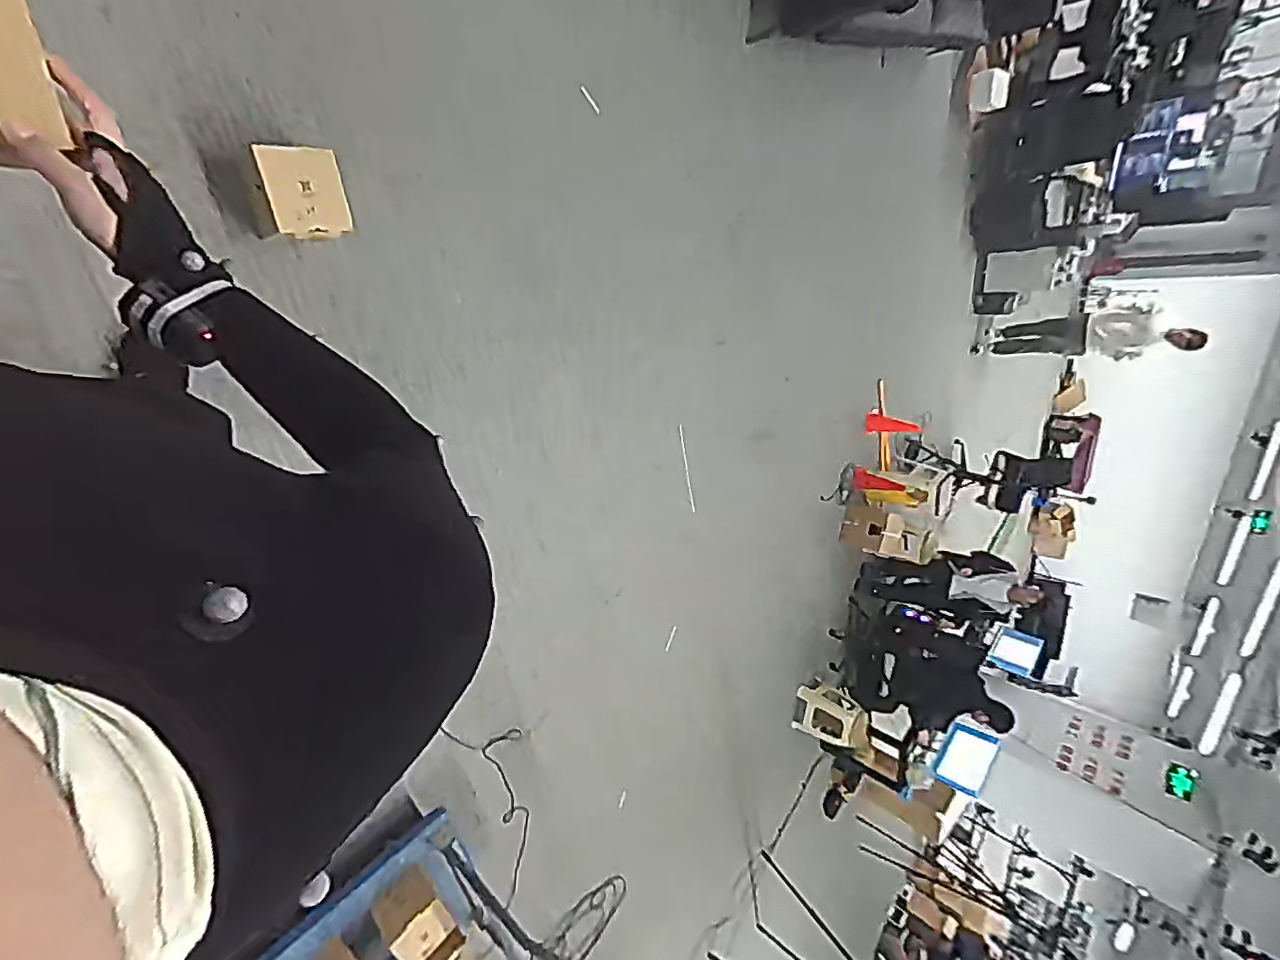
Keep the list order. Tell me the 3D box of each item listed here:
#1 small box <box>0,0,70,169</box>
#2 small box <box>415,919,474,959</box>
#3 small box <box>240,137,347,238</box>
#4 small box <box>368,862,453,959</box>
[{"bbox_3d":[-0.566,-0.336,0.396,0.179,0.176,0.168,-21,120,-42],"label":"small box"},{"bbox_3d":[-0.697,1.607,1.843,0.168,0.176,0.179,-28,122,-38],"label":"small box"},{"bbox_3d":[-0.817,-0.678,1.274,0.168,0.176,0.179,-17,115,-40],"label":"small box"},{"bbox_3d":[-0.737,1.374,1.728,0.168,0.176,0.179,-33,124,-36],"label":"small box"}]
